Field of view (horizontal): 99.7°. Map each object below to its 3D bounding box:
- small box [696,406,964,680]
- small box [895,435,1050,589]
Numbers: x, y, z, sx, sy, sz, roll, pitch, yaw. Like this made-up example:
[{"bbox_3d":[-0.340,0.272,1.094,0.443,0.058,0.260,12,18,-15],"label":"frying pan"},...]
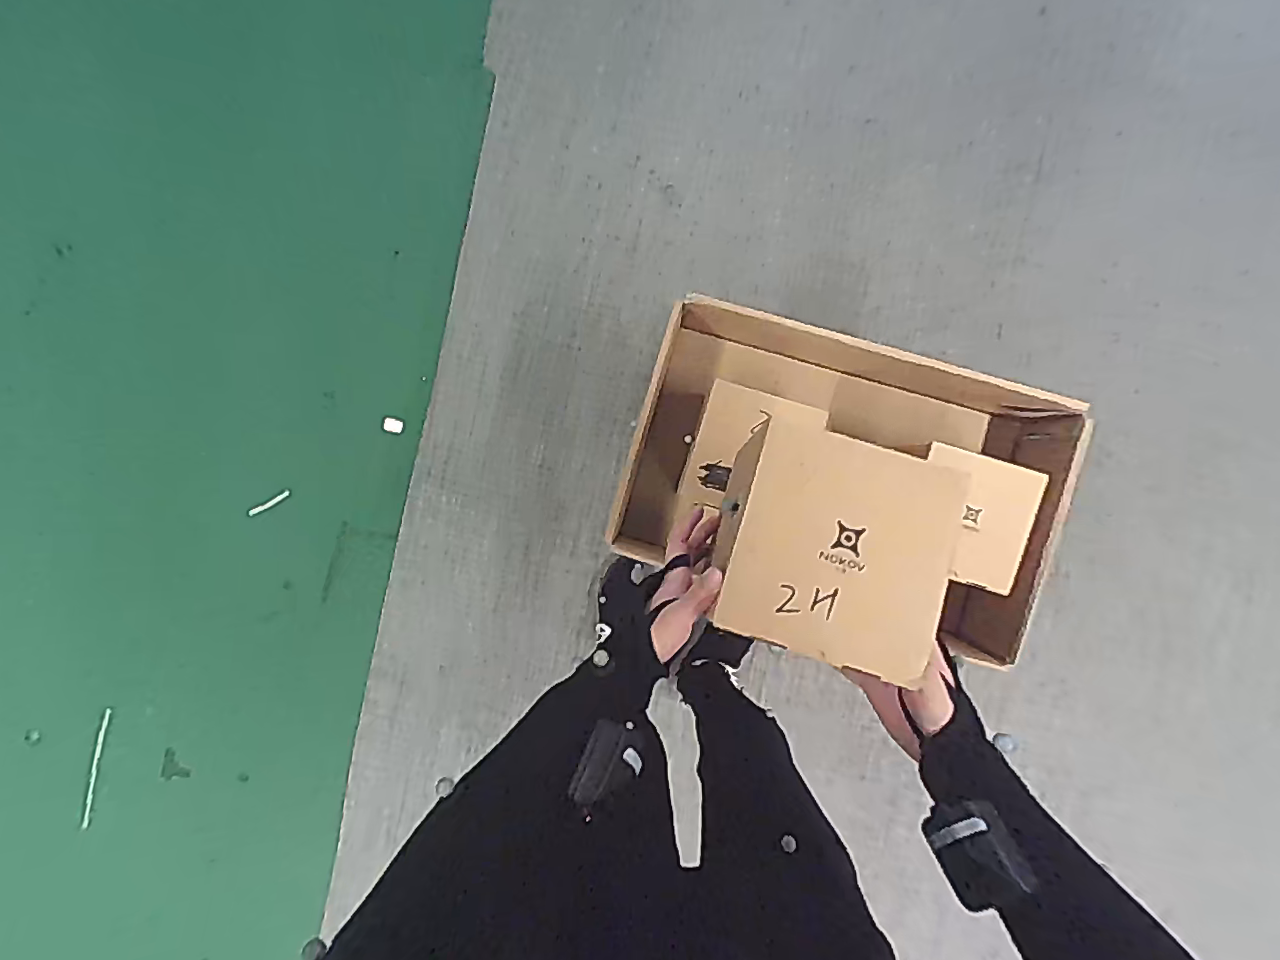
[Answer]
[{"bbox_3d":[0.155,0.055,0.498,0.168,0.176,0.179,17,84,4],"label":"small box"},{"bbox_3d":[0.455,0.040,0.812,0.168,0.176,0.179,16,93,2],"label":"small box"}]
